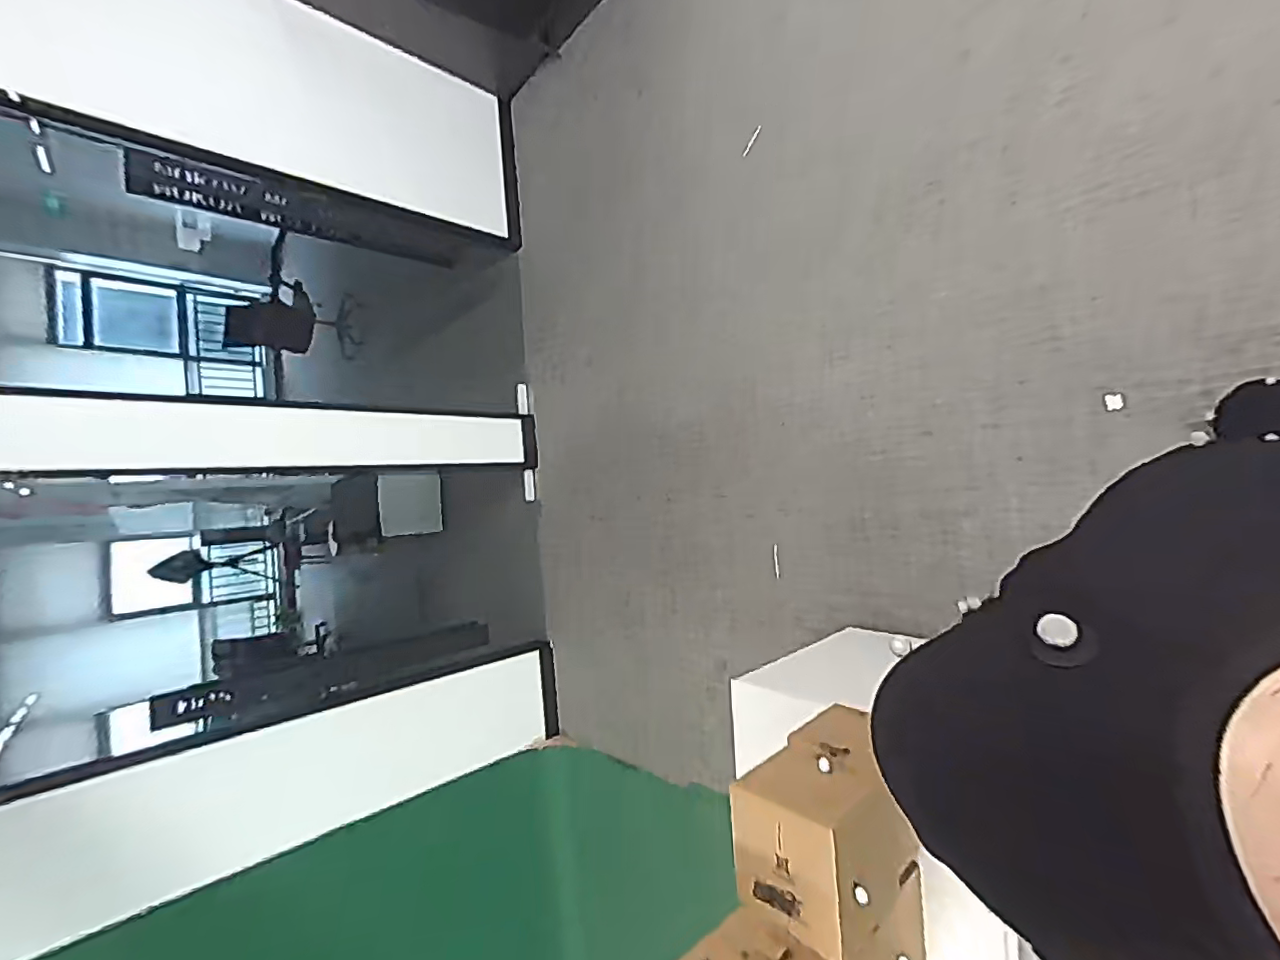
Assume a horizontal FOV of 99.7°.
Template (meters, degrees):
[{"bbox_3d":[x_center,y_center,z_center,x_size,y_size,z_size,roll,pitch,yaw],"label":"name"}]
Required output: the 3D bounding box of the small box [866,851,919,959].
[{"bbox_3d":[0.354,0.733,0.912,0.168,0.176,0.179,-6,86,47],"label":"small box"}]

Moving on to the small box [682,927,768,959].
[{"bbox_3d":[0.117,0.733,0.687,0.168,0.176,0.179,-5,86,48],"label":"small box"}]

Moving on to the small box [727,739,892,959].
[{"bbox_3d":[0.246,0.508,0.777,0.168,0.176,0.179,-4,89,47],"label":"small box"}]

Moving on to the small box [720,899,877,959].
[{"bbox_3d":[0.236,0.735,0.798,0.168,0.176,0.179,-3,87,47],"label":"small box"}]
